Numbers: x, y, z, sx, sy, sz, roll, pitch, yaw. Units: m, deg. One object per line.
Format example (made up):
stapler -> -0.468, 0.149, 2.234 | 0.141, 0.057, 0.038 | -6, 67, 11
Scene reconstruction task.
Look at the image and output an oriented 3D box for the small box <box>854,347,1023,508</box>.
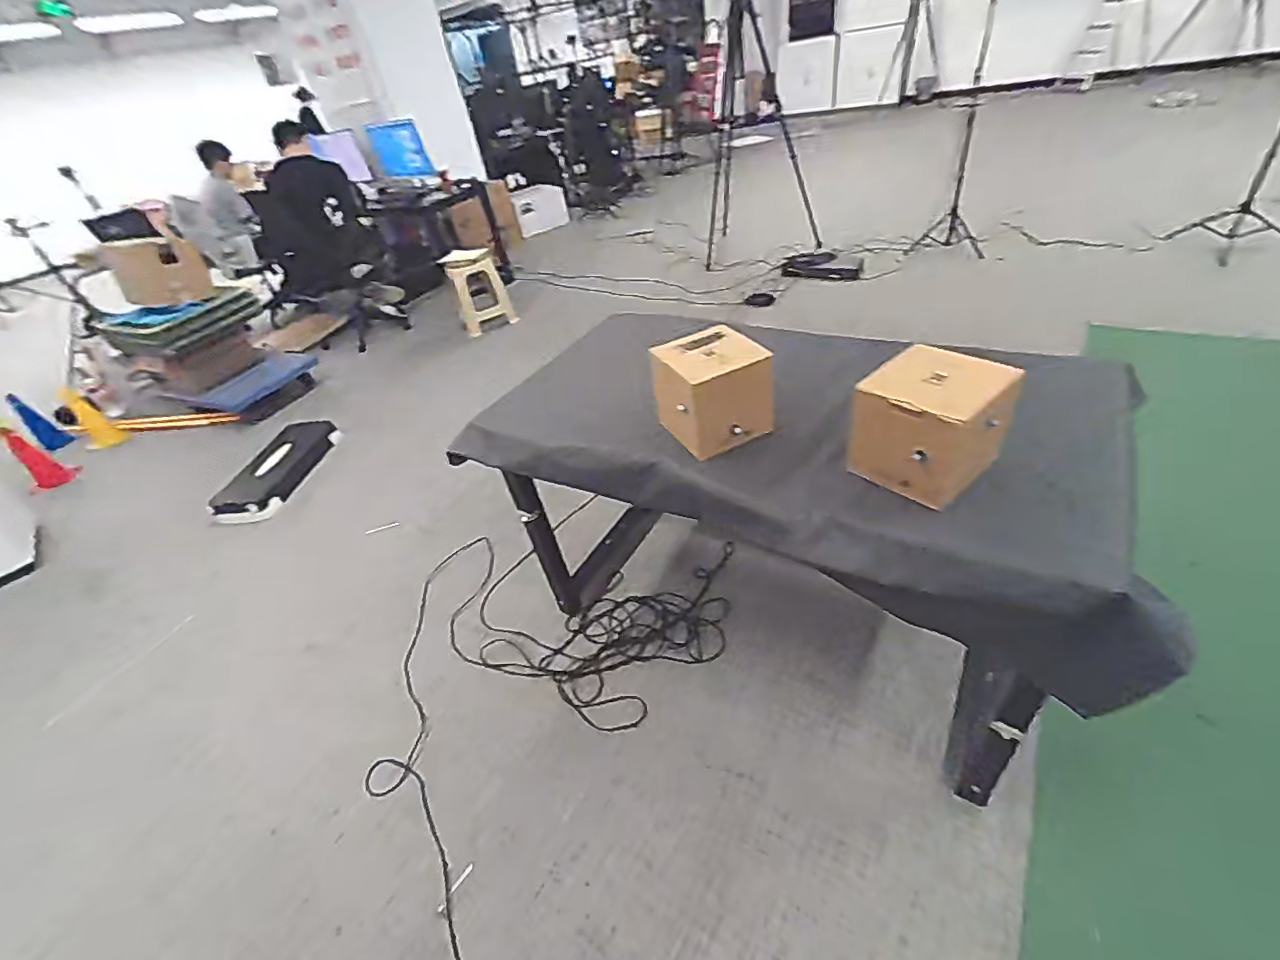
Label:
small box -> 0.459, -0.084, 0.857 | 0.179, 0.176, 0.168 | -32, 43, -25
